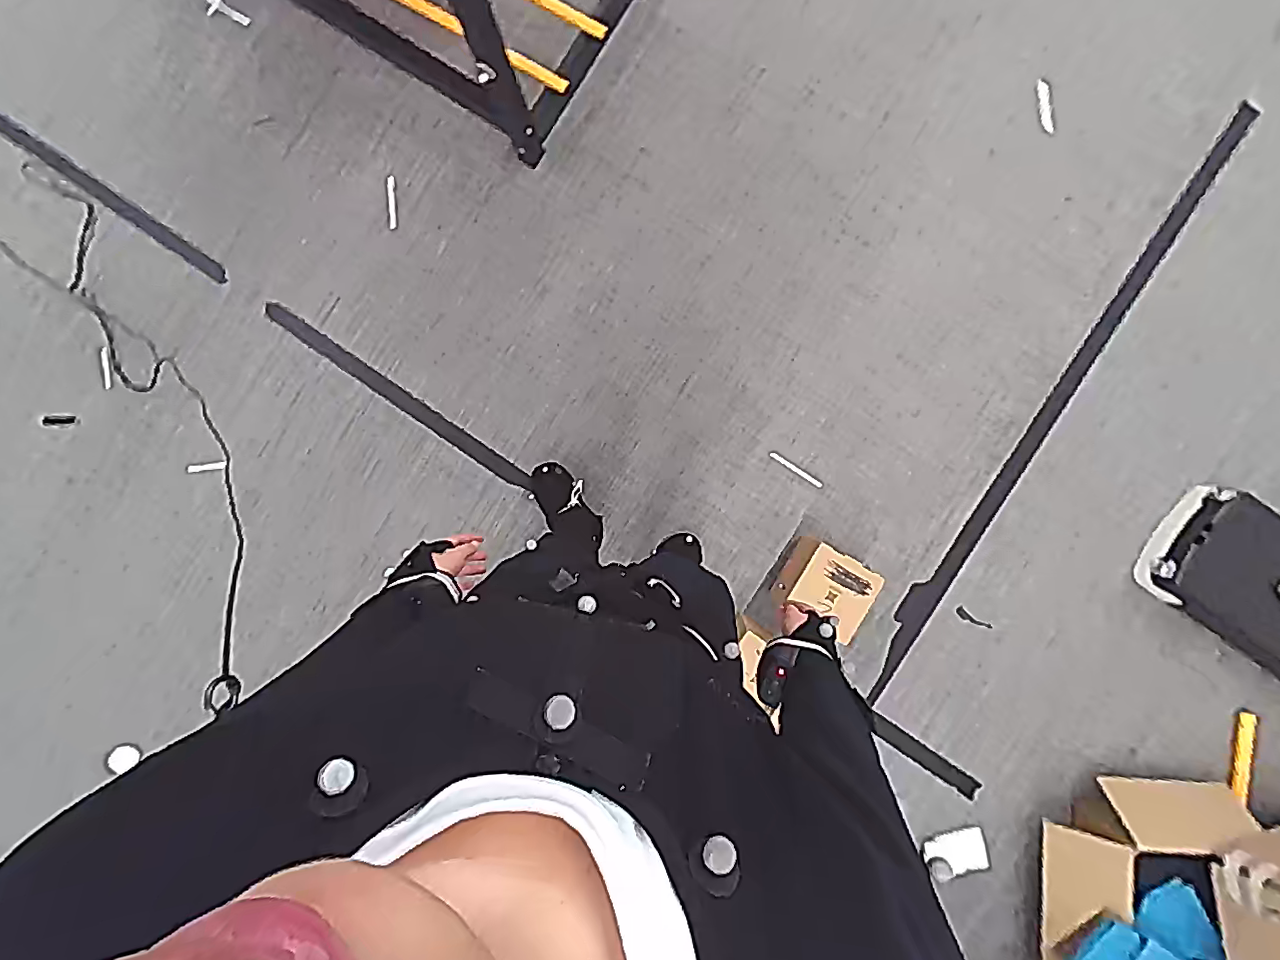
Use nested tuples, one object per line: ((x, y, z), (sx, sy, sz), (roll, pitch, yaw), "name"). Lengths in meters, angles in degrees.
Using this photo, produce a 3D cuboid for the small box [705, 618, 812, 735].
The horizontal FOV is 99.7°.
((0.270, 0.450, 1.275), (0.179, 0.176, 0.168), (36, 92, 4), "small box")
